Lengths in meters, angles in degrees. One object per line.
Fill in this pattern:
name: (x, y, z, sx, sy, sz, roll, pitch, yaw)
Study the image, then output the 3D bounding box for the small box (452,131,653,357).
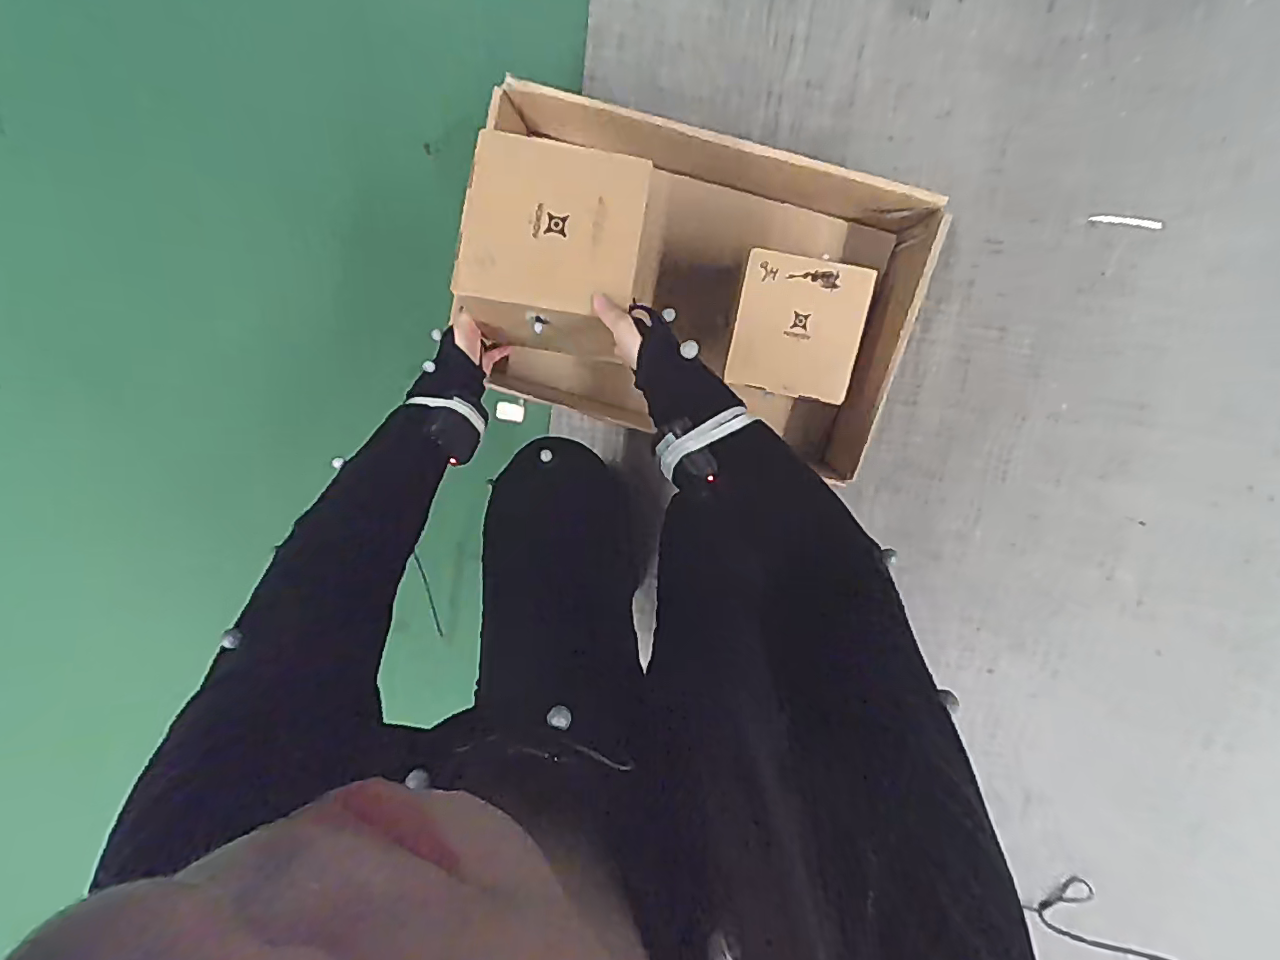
small box: (-0.087, -0.250, 0.615, 0.179, 0.176, 0.168, 10, 88, -1)
